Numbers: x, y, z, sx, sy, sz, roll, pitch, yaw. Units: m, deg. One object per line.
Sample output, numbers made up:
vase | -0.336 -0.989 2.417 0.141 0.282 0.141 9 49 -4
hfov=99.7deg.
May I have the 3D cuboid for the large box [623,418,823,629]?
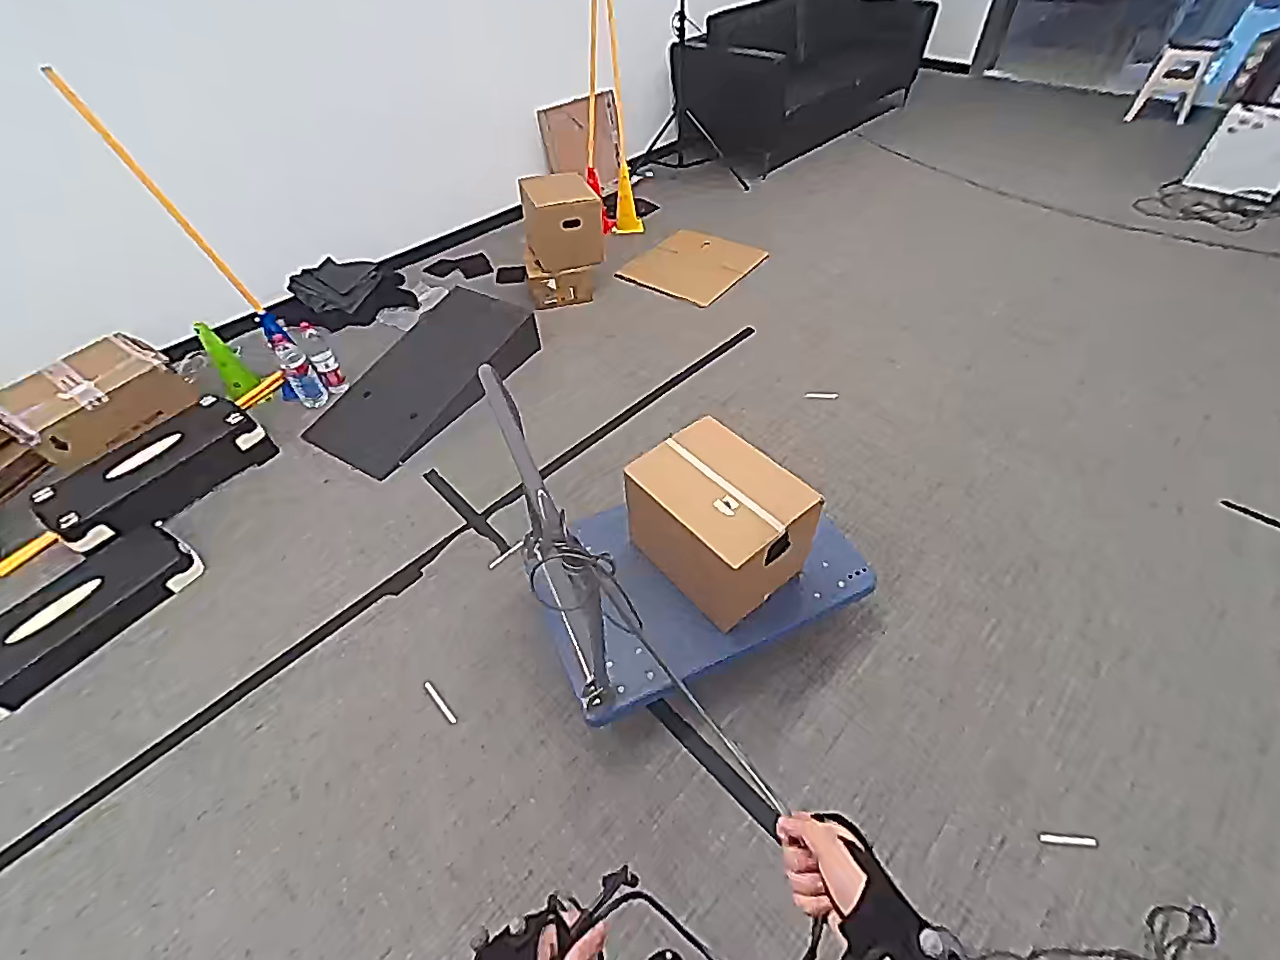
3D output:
large box | 0.199 0.109 1.443 0.320 0.320 0.408 -34 56 -23
